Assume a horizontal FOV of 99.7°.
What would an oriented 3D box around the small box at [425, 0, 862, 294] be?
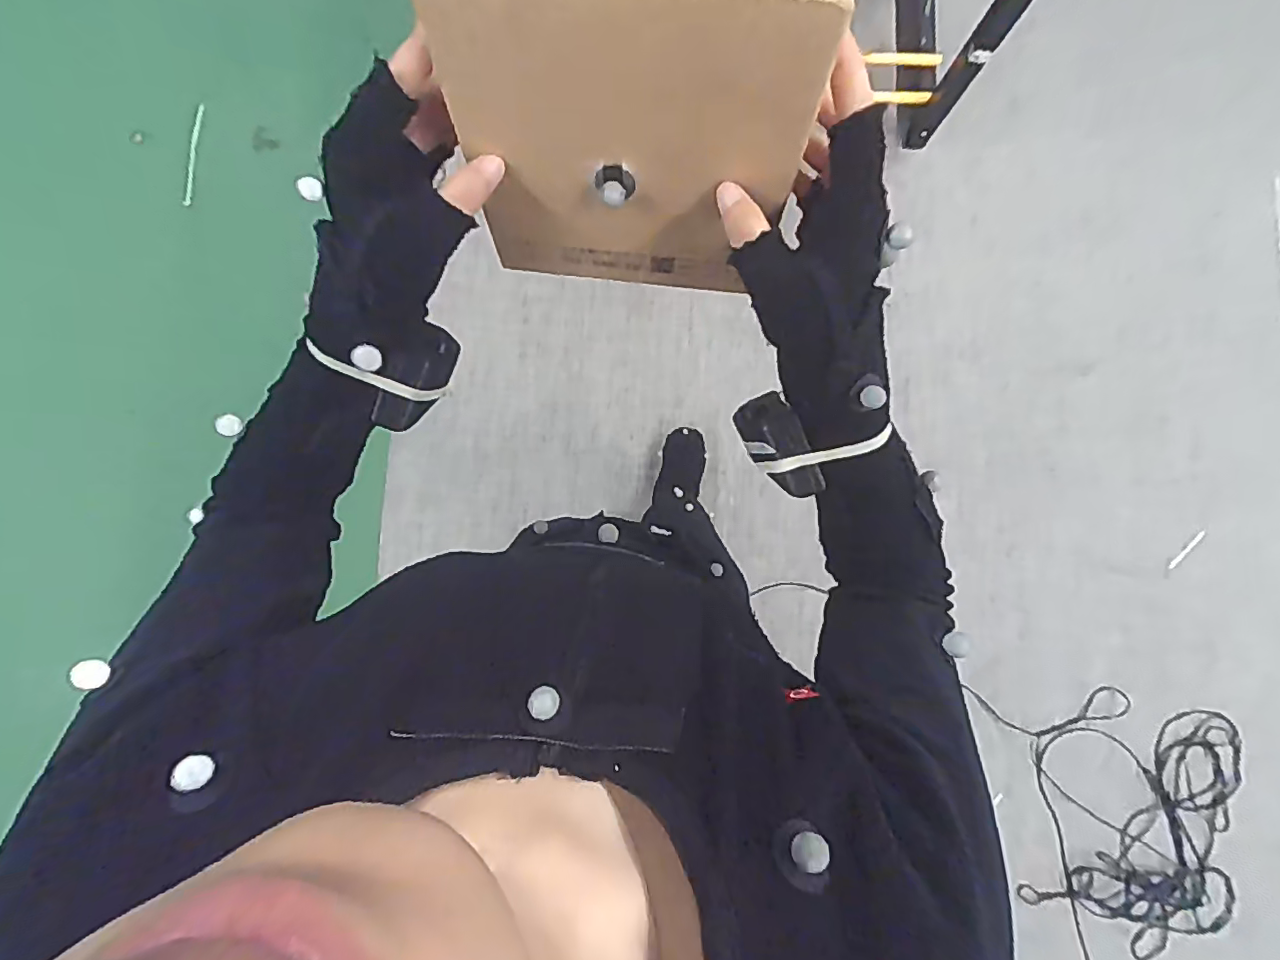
[{"bbox_3d":[0.008,-0.228,0.296,0.168,0.176,0.179,6,72,0],"label":"small box"}]
